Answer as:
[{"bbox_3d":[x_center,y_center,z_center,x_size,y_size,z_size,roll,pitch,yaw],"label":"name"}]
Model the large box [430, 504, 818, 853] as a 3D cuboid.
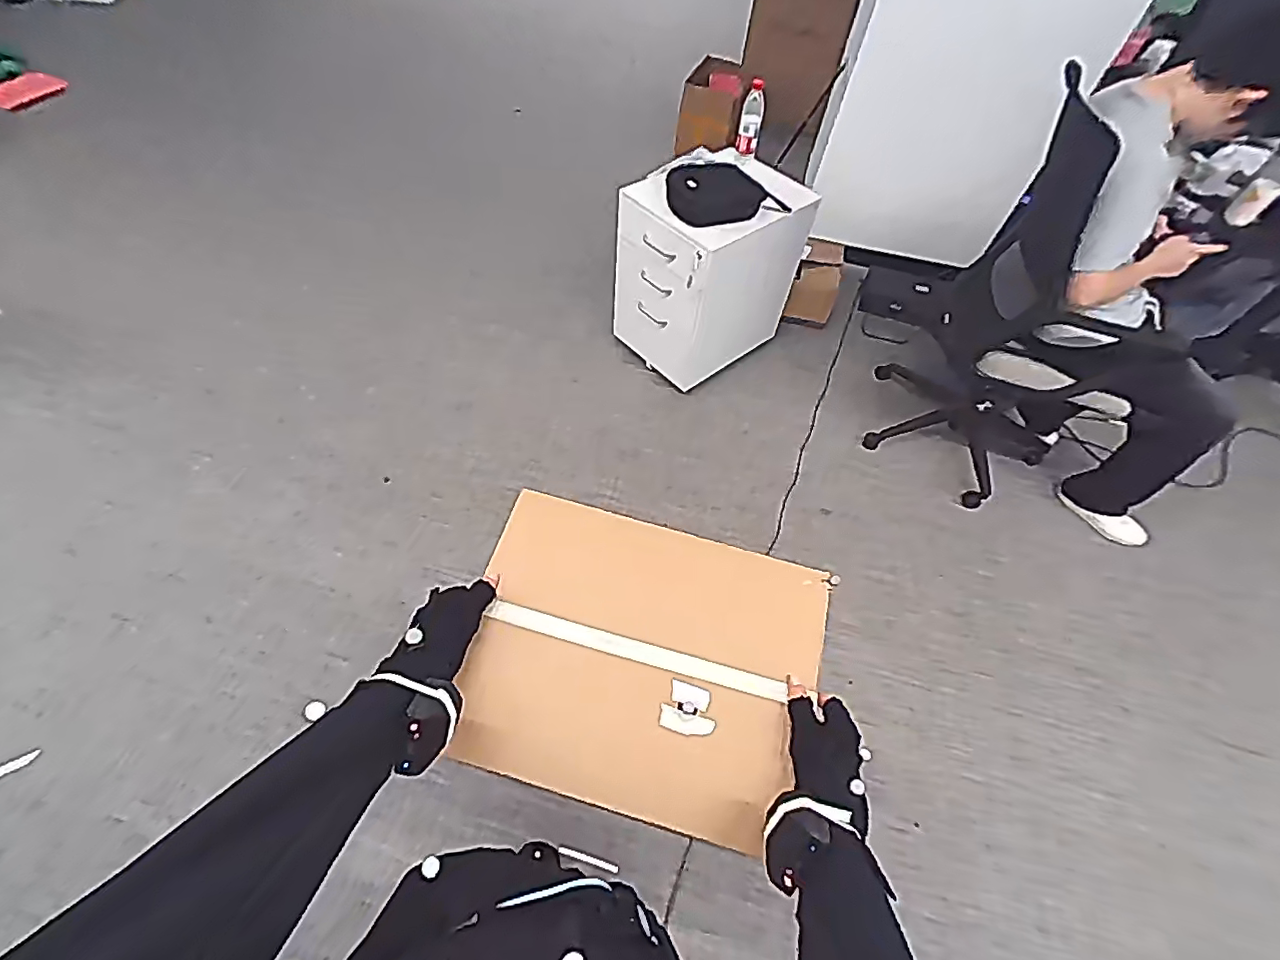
[{"bbox_3d":[-0.011,0.276,0.764,0.408,0.320,0.320,15,63,4],"label":"large box"}]
